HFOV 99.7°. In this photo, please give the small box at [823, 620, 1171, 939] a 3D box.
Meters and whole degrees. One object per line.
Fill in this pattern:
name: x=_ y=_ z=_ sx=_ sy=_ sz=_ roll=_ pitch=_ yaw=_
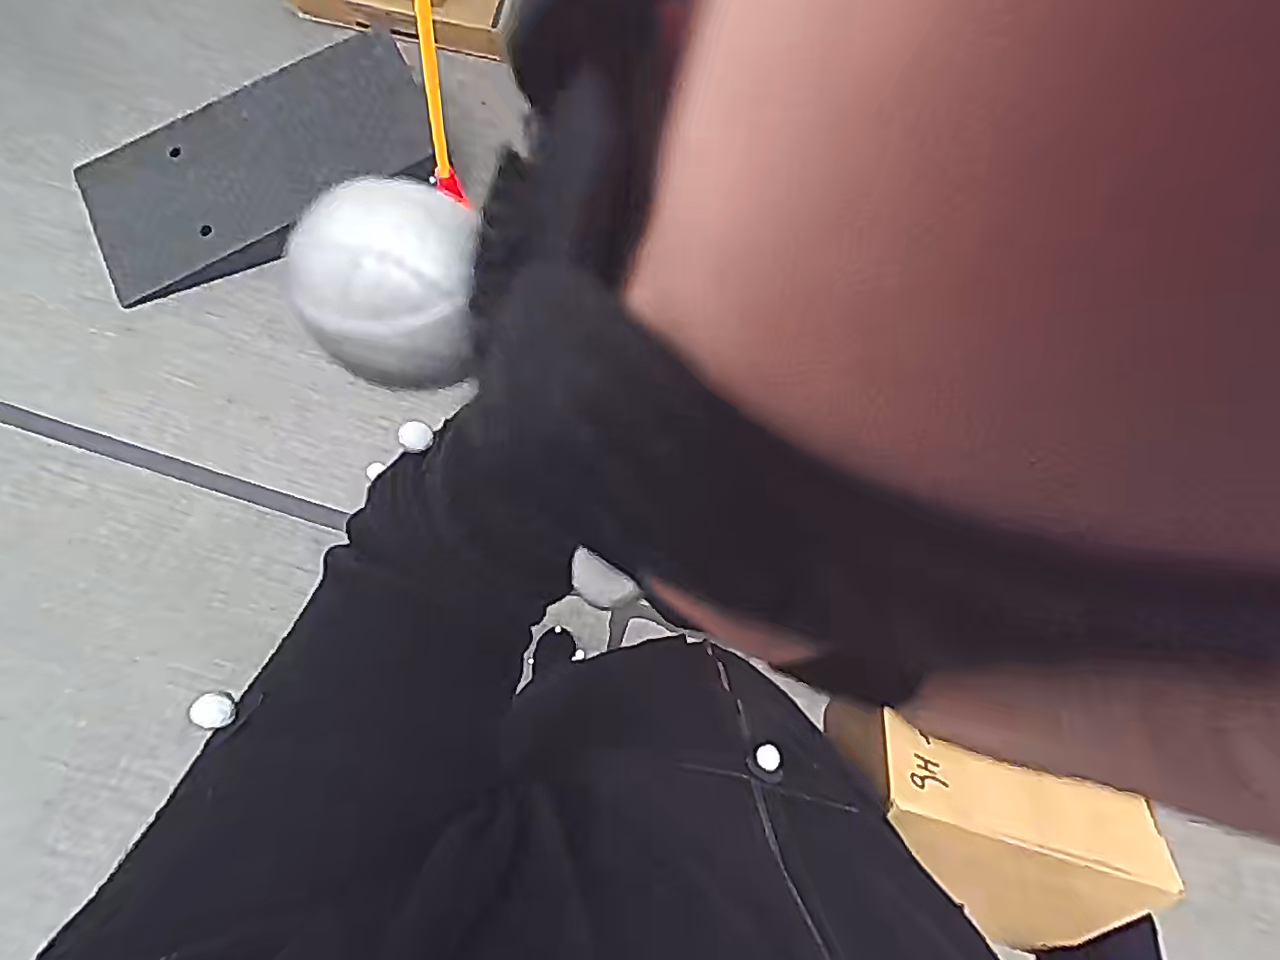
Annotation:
small box: x=0.271 y=0.256 z=0.465 sx=0.179 sy=0.176 sz=0.168 roll=12 pitch=39 yaw=10
